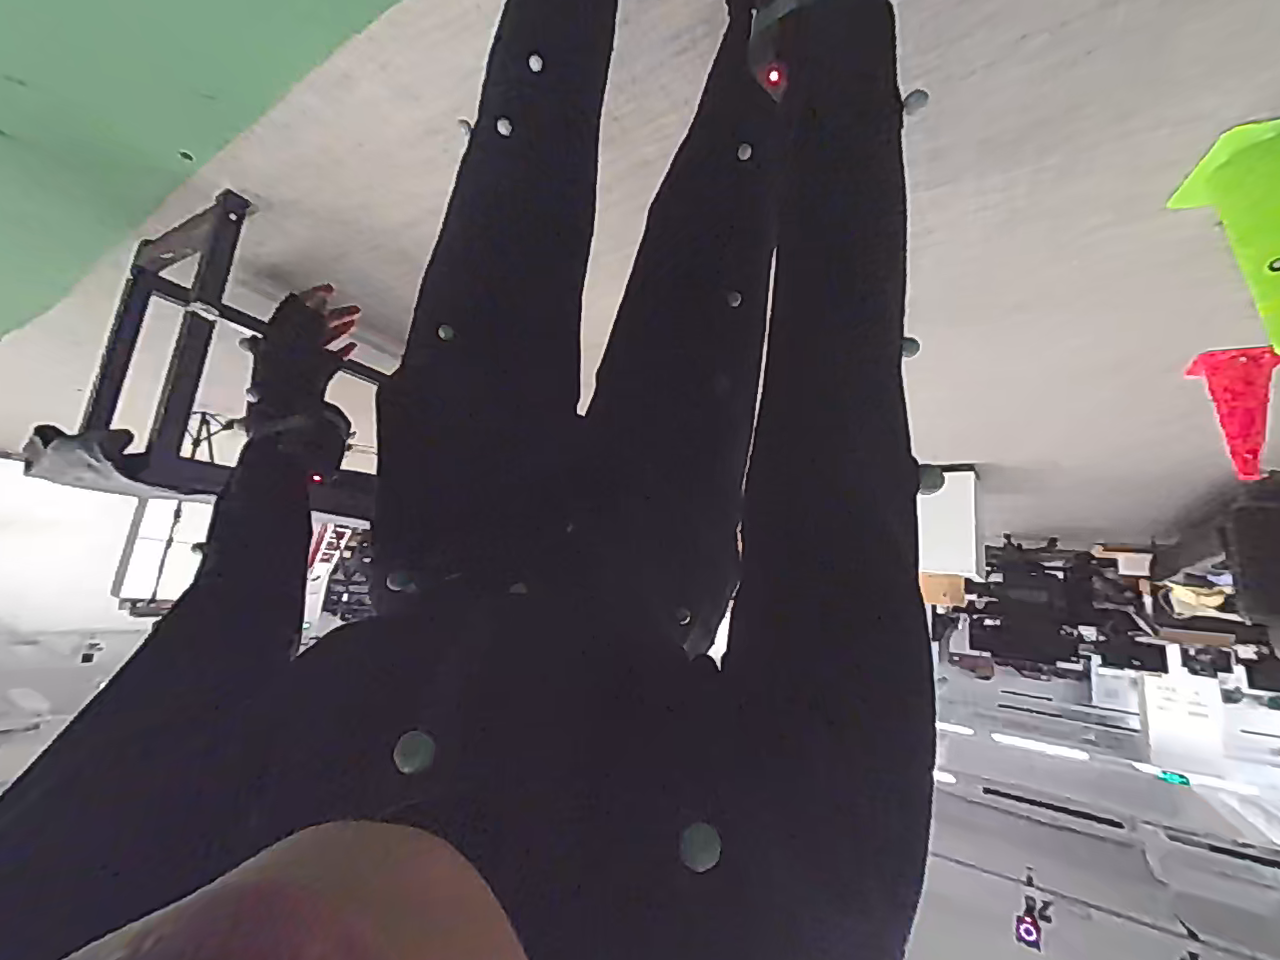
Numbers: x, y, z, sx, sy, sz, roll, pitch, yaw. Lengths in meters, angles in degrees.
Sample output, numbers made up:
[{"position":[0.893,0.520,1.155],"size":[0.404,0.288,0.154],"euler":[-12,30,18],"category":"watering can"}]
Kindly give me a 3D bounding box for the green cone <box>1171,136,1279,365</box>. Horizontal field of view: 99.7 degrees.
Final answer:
[{"position":[1.077,-0.365,0.908],"size":[0.200,0.368,0.202],"euler":[1,167,22],"category":"green cone"}]
